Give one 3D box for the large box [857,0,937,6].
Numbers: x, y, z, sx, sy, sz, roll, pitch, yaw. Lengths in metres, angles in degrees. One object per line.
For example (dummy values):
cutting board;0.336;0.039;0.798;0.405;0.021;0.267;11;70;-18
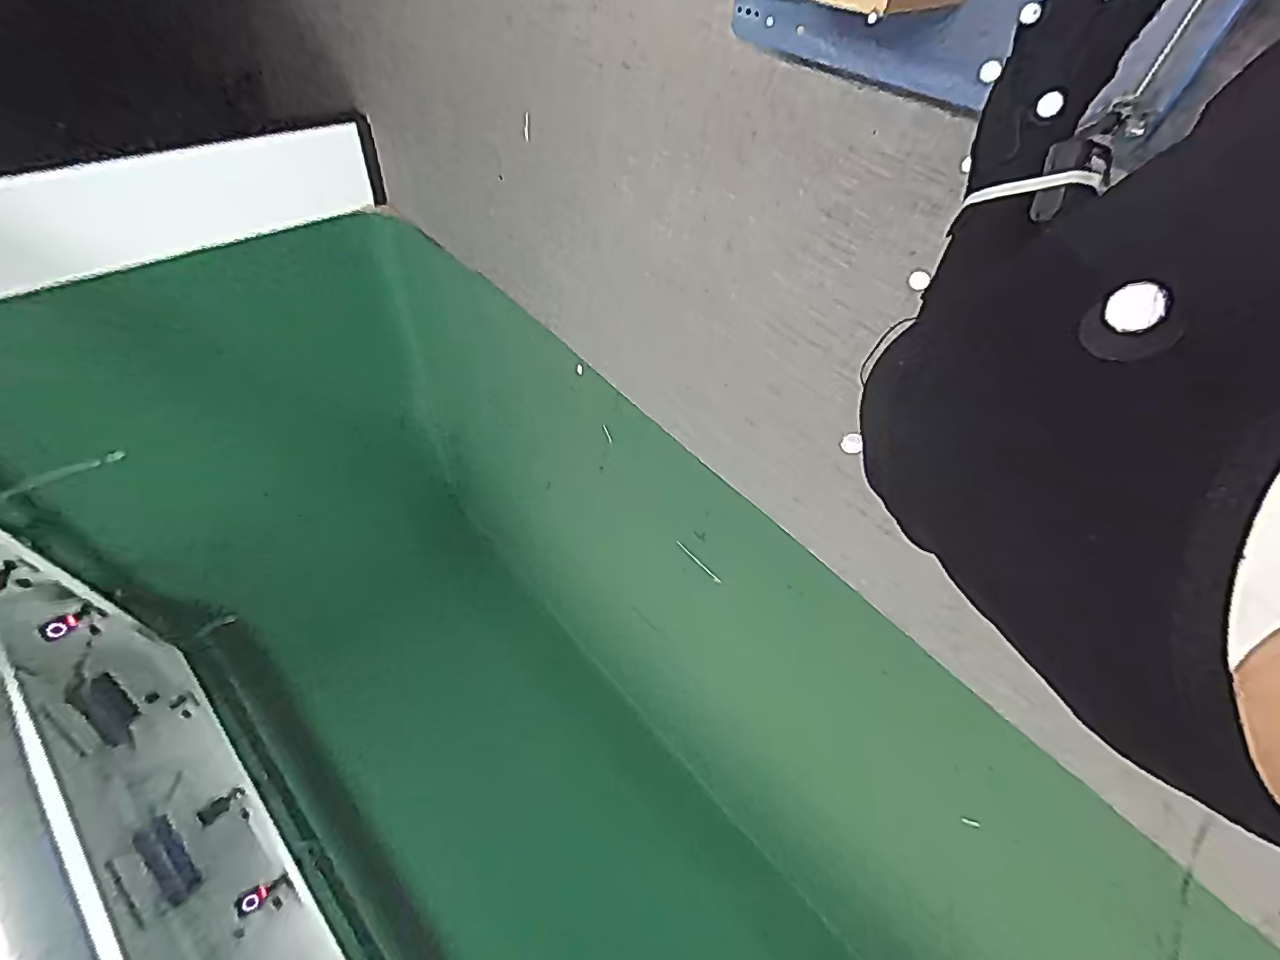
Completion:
large box;0.378;-0.982;0.783;0.320;0.320;0.408;38;145;26
